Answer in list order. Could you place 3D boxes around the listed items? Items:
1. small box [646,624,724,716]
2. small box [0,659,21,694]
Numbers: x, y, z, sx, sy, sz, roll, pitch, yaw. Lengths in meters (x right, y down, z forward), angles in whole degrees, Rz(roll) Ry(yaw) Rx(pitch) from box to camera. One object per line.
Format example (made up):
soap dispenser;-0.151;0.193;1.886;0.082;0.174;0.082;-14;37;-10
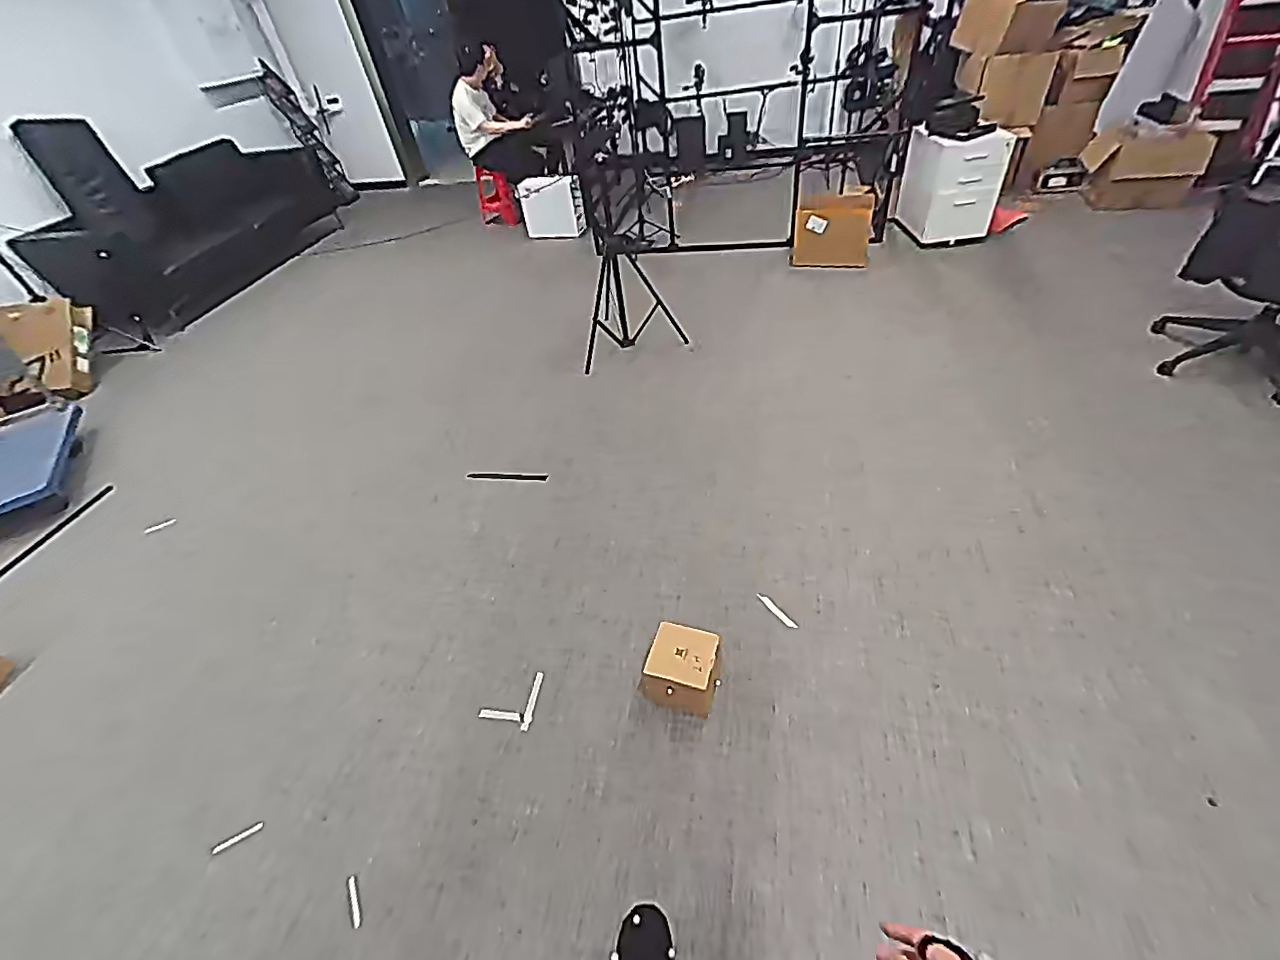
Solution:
small box;0.131;0.532;1.507;0.179;0.176;0.168;9;46;19
small box;-2.245;0.666;1.782;0.179;0.176;0.168;-3;43;8
